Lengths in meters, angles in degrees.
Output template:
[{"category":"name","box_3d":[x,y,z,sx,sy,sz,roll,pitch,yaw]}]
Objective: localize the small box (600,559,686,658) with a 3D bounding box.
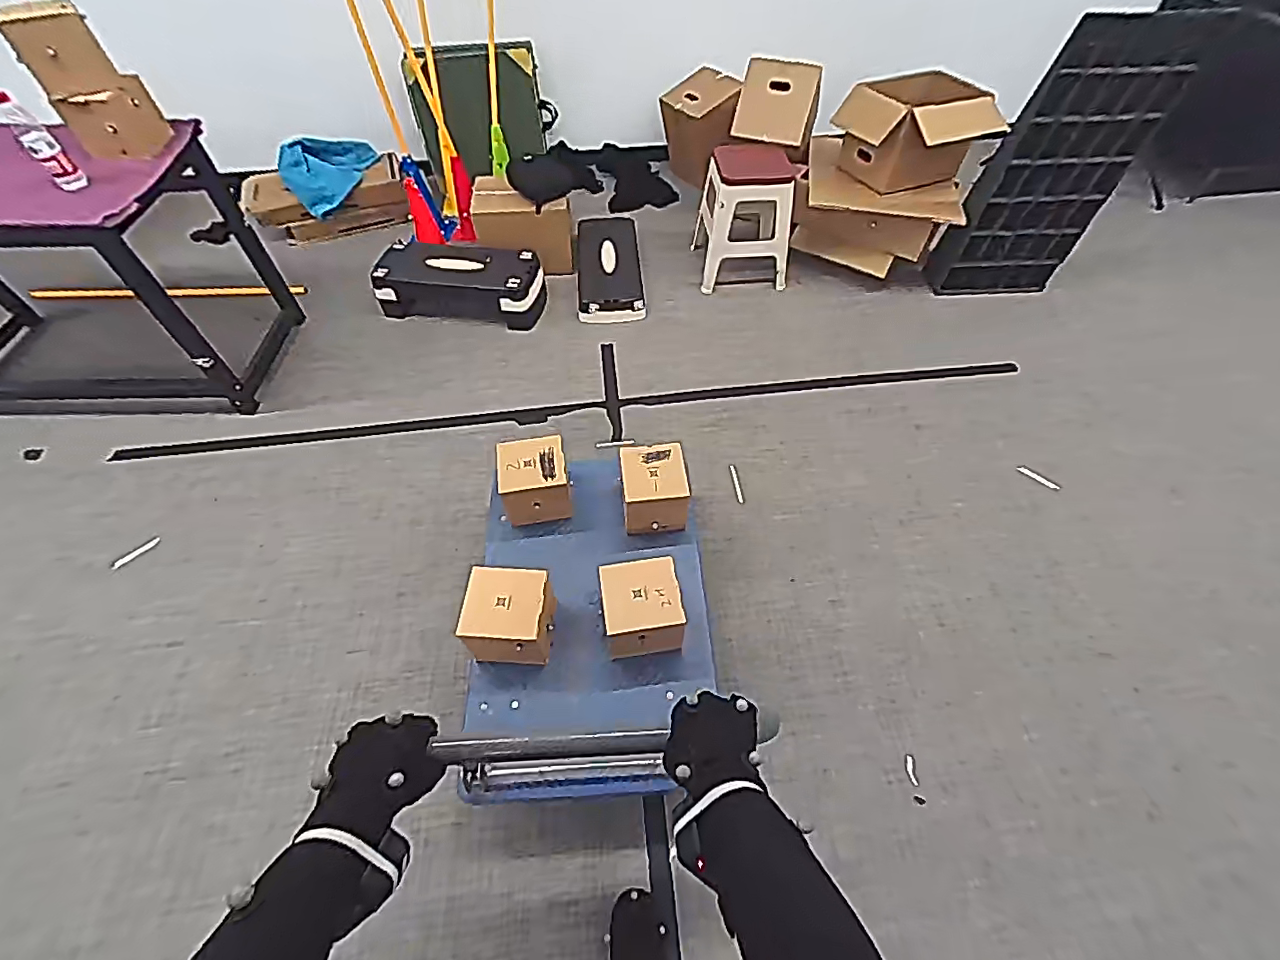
[{"category":"small box","box_3d":[0.005,0.307,1.274,0.179,0.176,0.168,-7,55,-5]}]

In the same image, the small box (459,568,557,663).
[{"category":"small box","box_3d":[-0.299,0.320,1.264,0.179,0.176,0.168,4,54,1]}]

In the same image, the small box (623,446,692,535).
[{"category":"small box","box_3d":[0.041,0.031,1.469,0.168,0.176,0.179,-5,56,-3]}]
